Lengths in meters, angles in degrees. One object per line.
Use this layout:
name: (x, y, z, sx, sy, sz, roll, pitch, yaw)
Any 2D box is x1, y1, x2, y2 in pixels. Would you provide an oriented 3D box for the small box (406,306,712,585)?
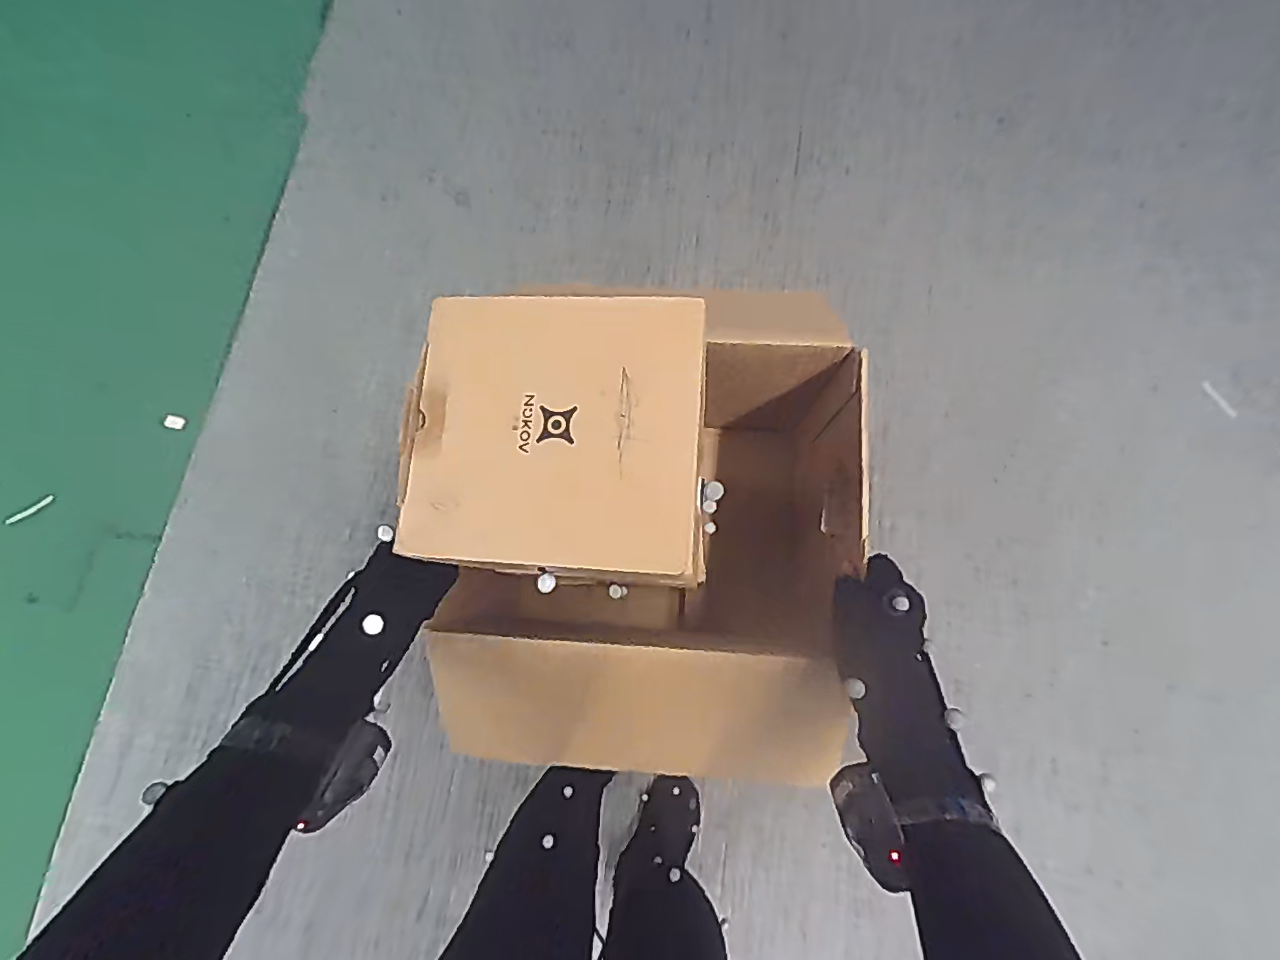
small box: (-0.038, -0.011, 0.397, 0.179, 0.176, 0.168, 1, 79, 6)
